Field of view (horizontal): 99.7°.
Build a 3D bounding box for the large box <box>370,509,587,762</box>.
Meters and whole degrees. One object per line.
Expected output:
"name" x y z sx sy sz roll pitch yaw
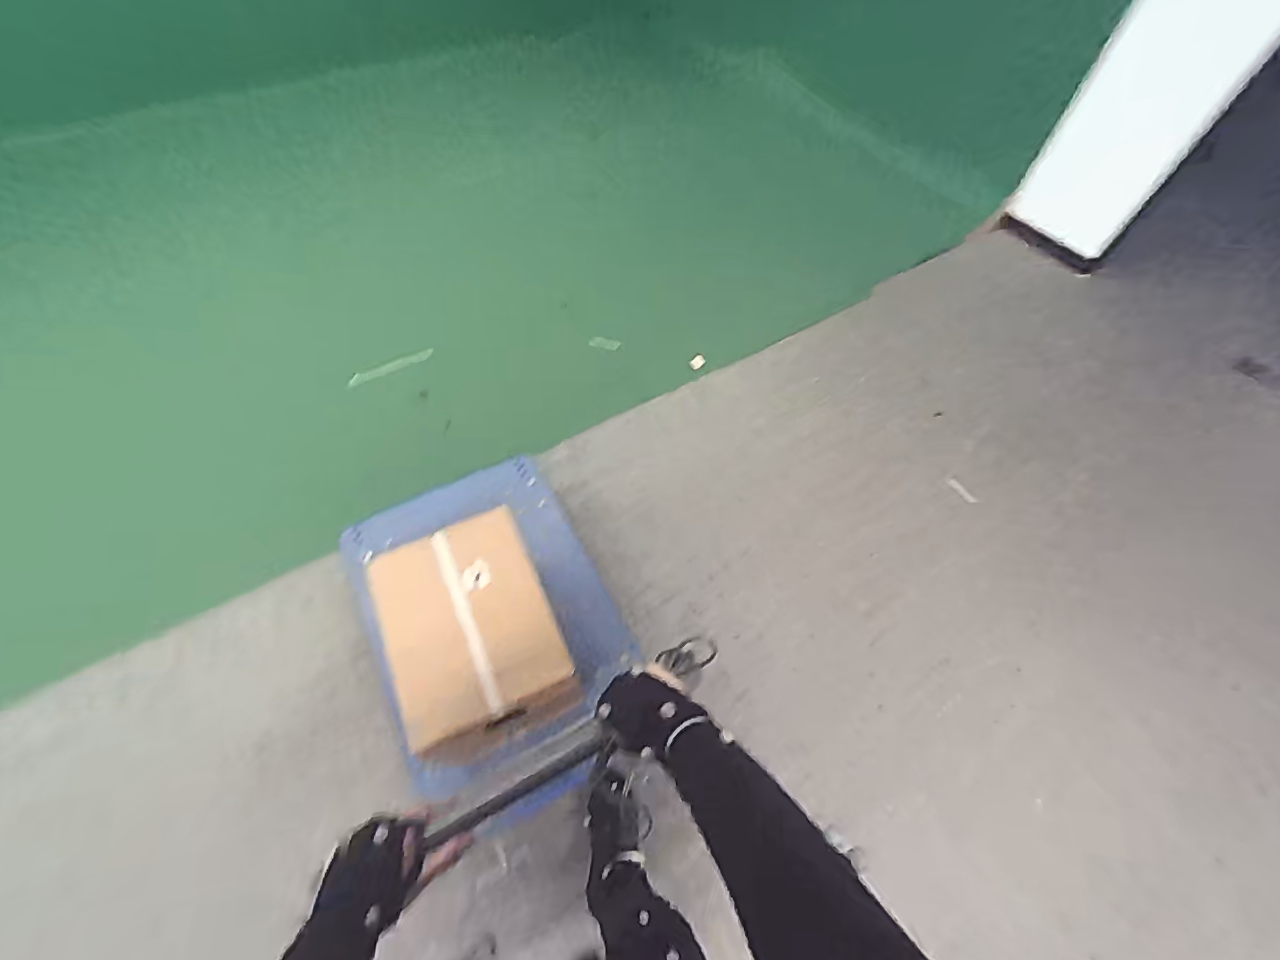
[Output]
"large box" -0.344 0.347 1.206 0.320 0.320 0.408 -22 61 -15
